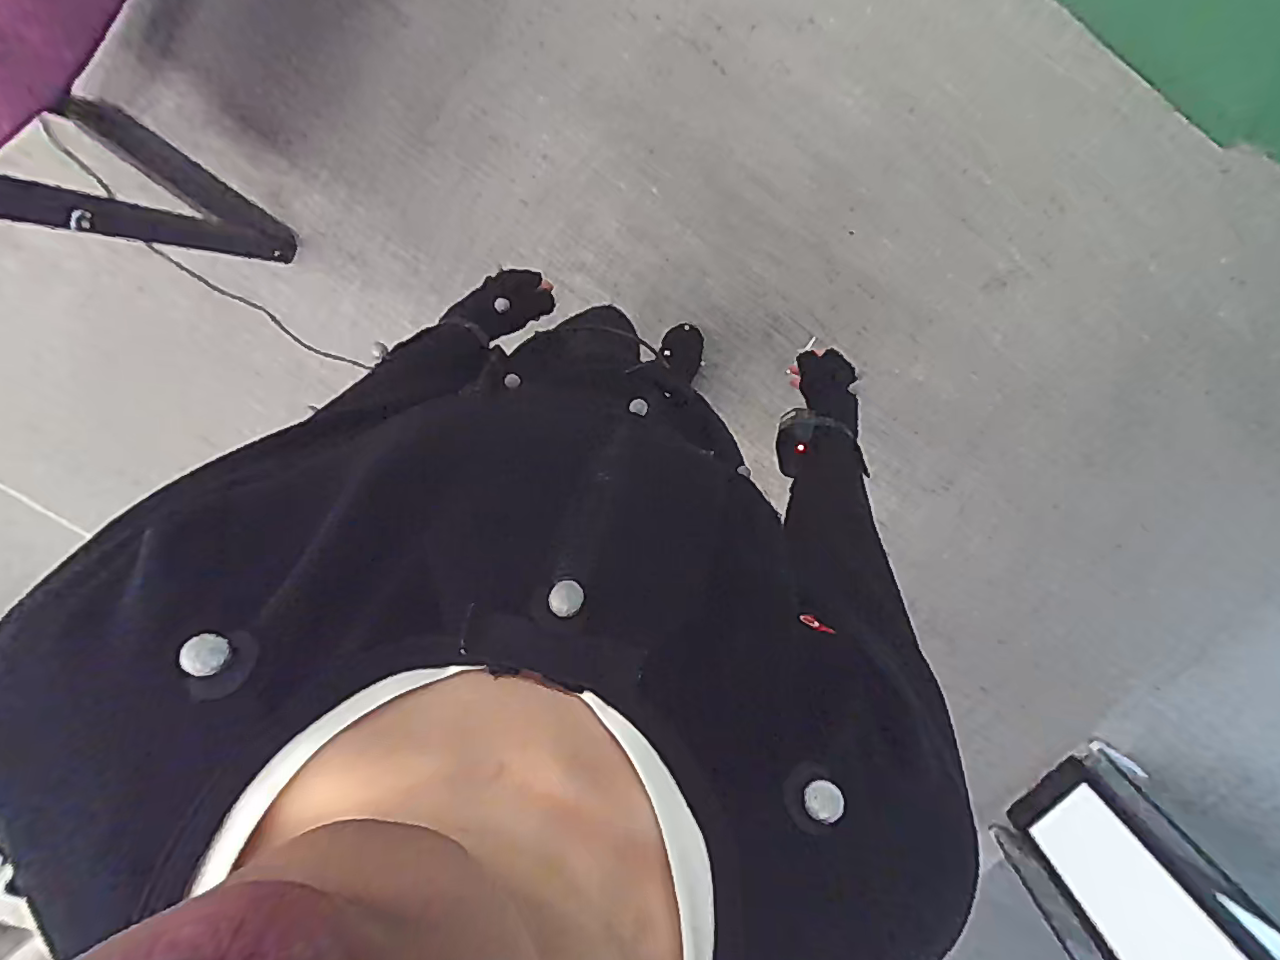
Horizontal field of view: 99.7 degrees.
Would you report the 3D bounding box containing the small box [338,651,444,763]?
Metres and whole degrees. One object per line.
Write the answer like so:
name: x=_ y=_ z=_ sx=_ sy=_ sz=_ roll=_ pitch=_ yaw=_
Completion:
small box: x=-0.655 y=0.601 z=1.446 sx=0.168 sy=0.176 sz=0.179 roll=35 pitch=106 yaw=-6
